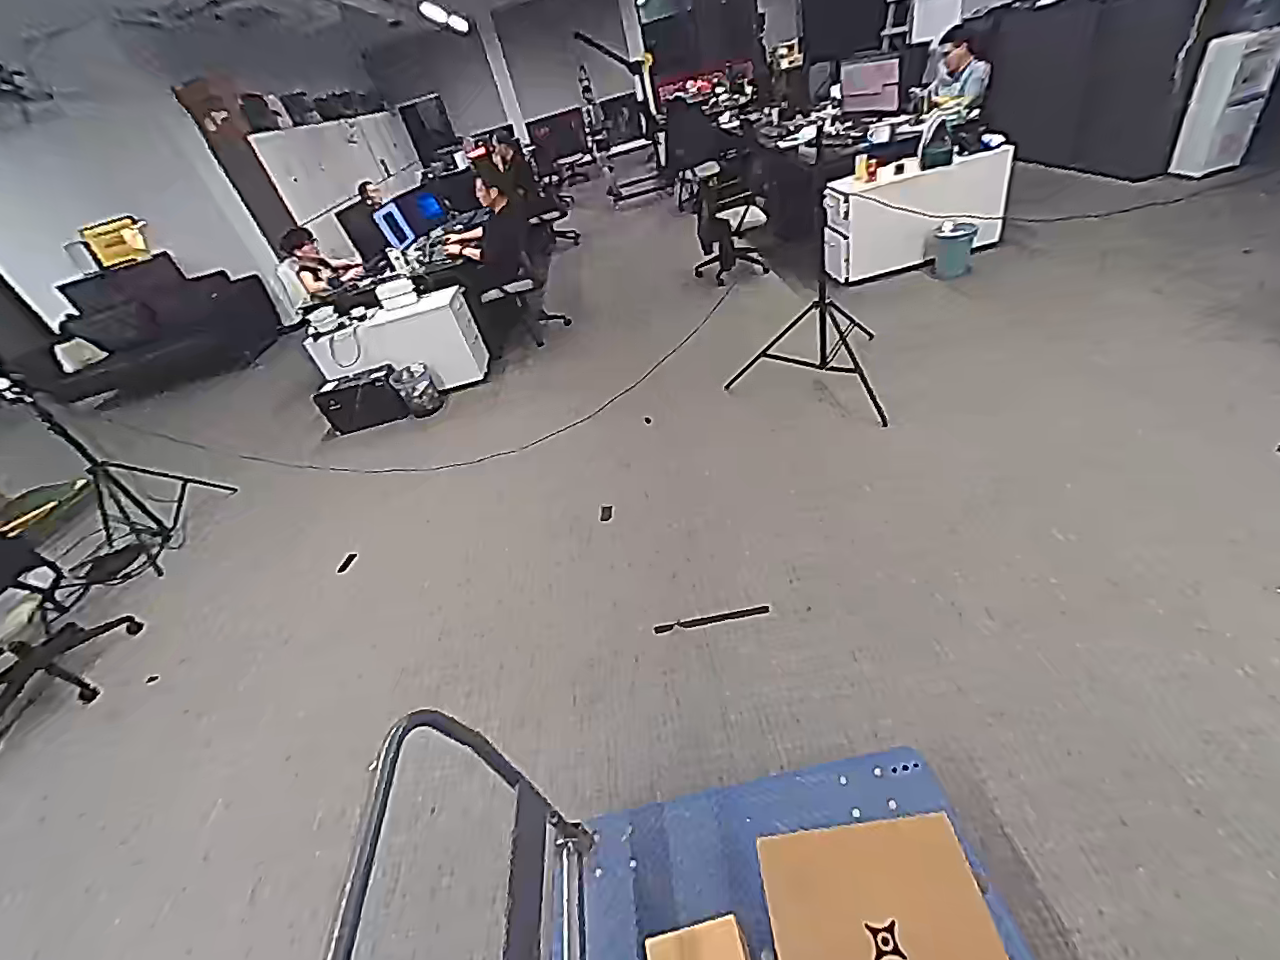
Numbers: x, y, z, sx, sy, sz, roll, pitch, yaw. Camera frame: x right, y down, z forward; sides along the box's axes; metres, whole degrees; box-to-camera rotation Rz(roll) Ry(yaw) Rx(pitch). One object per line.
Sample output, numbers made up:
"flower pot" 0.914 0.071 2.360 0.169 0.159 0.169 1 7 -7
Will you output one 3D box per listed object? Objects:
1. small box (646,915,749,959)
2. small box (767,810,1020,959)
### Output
"small box" 0.118 0.894 0.925 0.168 0.176 0.179 -16 37 0
"small box" 0.210 0.408 0.455 0.168 0.176 0.179 -13 42 8
